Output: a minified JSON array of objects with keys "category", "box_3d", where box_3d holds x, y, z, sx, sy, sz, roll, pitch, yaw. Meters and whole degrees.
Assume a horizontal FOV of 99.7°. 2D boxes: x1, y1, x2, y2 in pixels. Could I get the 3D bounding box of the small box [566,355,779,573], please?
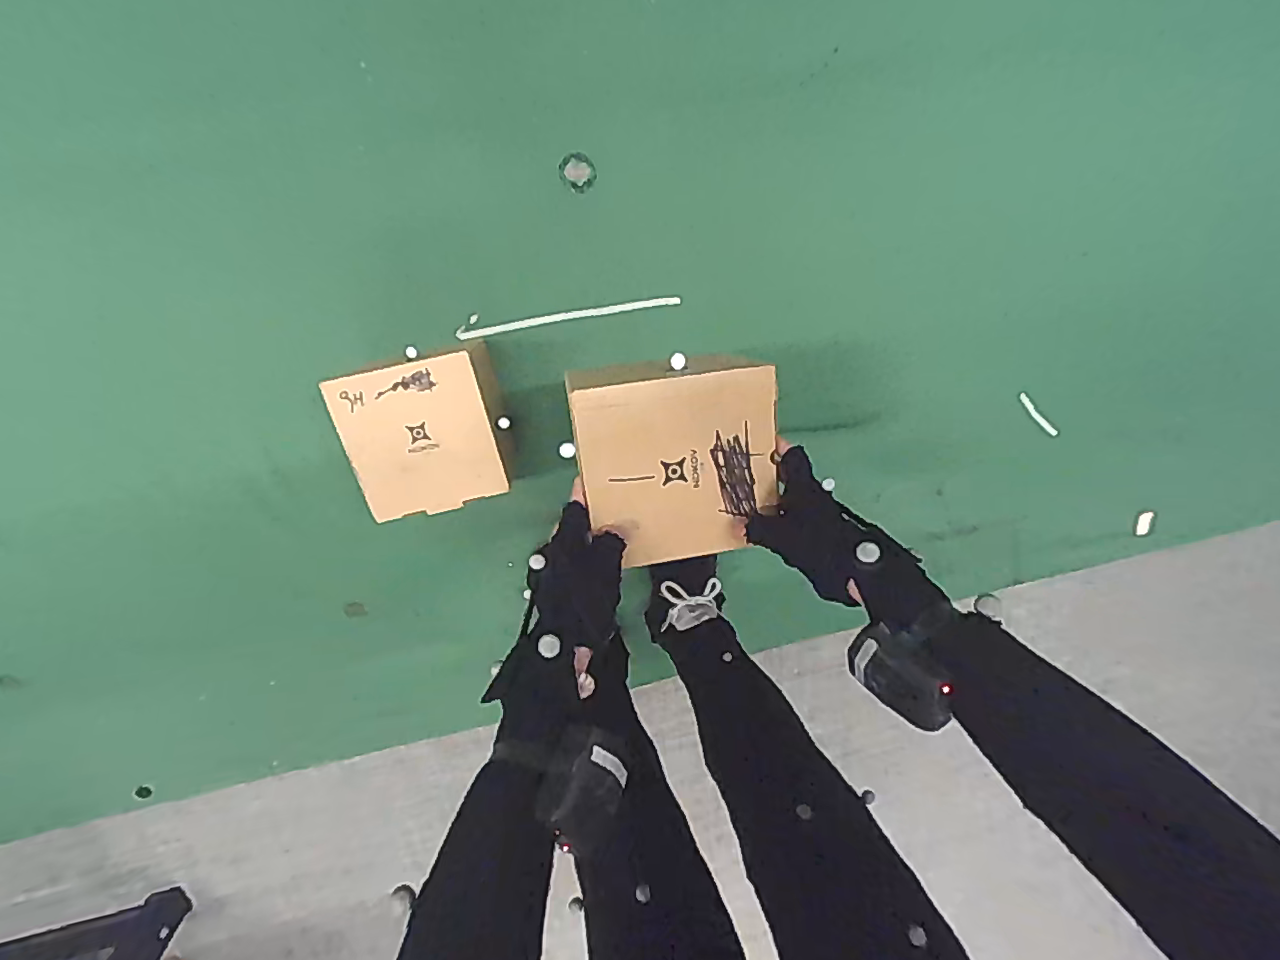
[{"category":"small box","box_3d":[0.024,-0.029,0.541,0.179,0.176,0.168,-9,108,-6]}]
